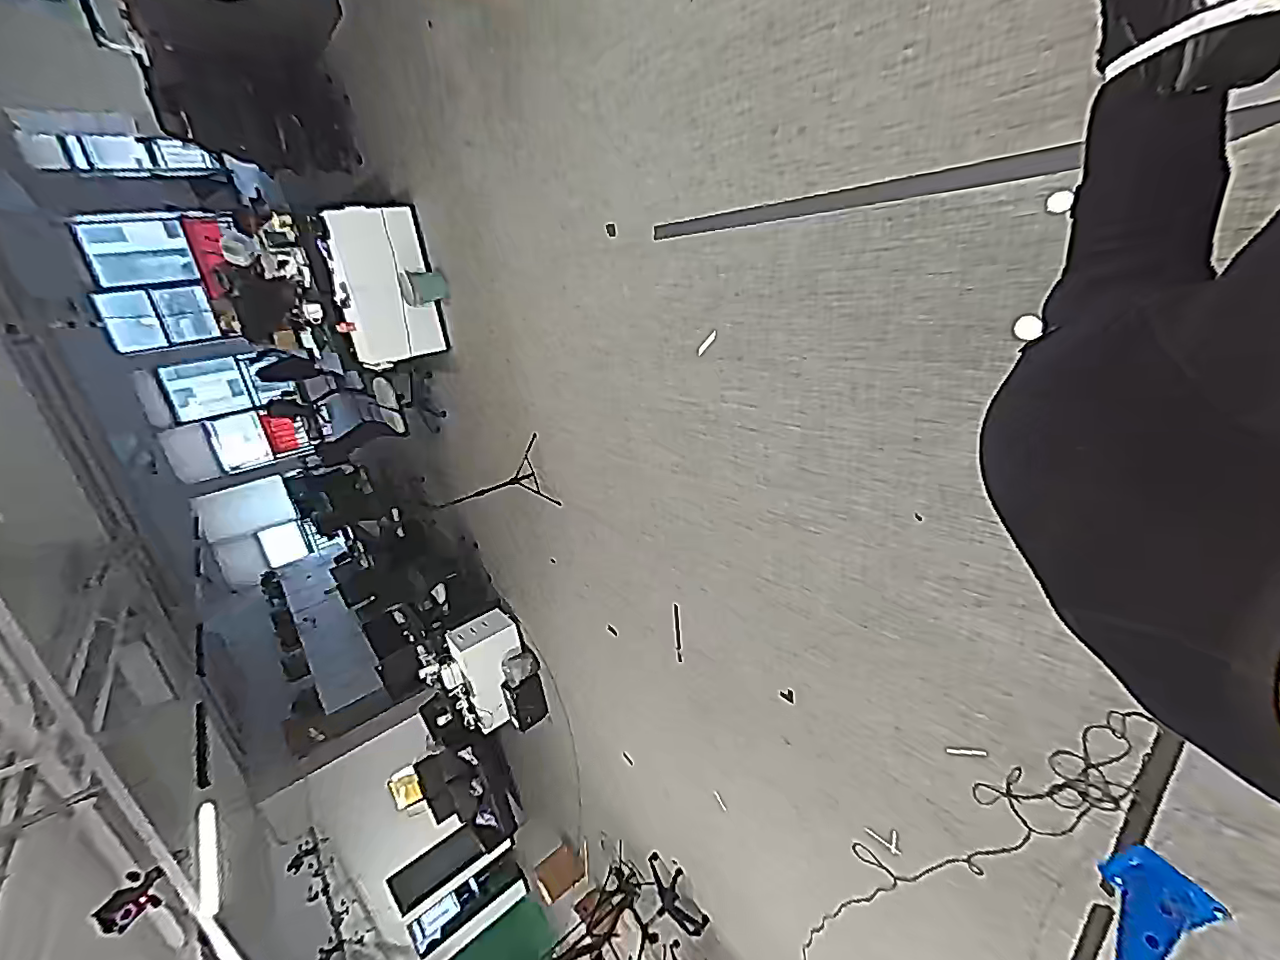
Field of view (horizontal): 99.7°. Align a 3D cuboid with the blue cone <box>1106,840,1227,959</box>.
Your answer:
[{"bbox_3d":[1.273,1.130,1.357,0.193,0.380,0.192,42,139,33],"label":"blue cone"}]

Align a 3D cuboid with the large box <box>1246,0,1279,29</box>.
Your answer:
[{"bbox_3d":[0.570,-0.481,0.225,0.408,0.320,0.320,13,122,50],"label":"large box"}]
